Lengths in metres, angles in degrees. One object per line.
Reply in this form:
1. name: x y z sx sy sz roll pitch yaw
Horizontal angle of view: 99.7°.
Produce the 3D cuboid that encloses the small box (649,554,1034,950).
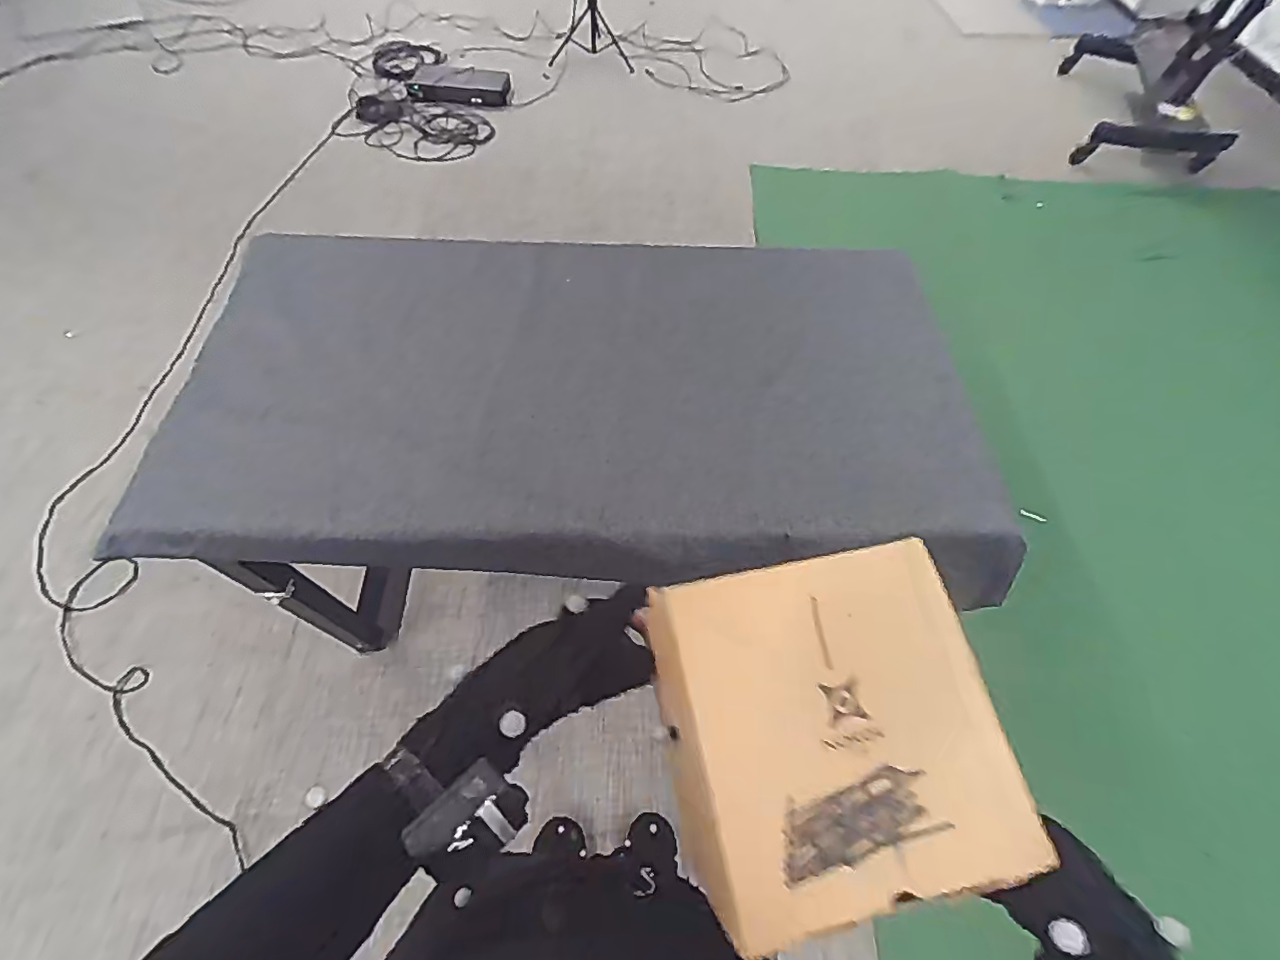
1. small box: 0.106 0.165 0.373 0.168 0.176 0.179 -9 69 -8
